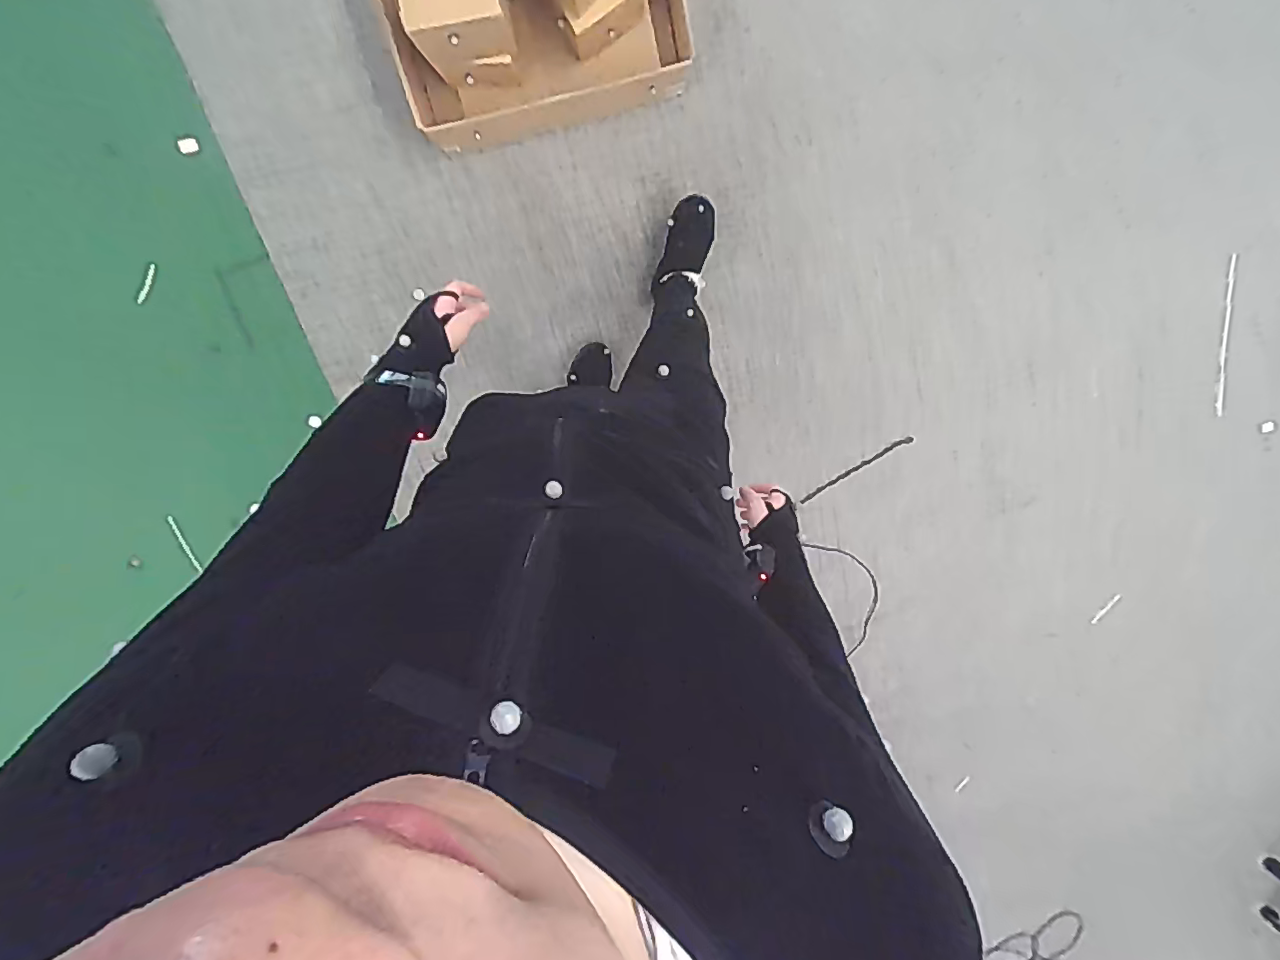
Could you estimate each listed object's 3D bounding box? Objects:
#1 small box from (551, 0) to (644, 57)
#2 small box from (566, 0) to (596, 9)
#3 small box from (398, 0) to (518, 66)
[{"bbox_3d":[-0.098,-1.030,1.127,0.168,0.176,0.179,-29,108,9],"label":"small box"},{"bbox_3d":[-0.109,-0.999,0.964,0.168,0.176,0.179,-38,107,12],"label":"small box"},{"bbox_3d":[-0.340,-0.896,0.993,0.179,0.176,0.168,-10,110,0],"label":"small box"}]
